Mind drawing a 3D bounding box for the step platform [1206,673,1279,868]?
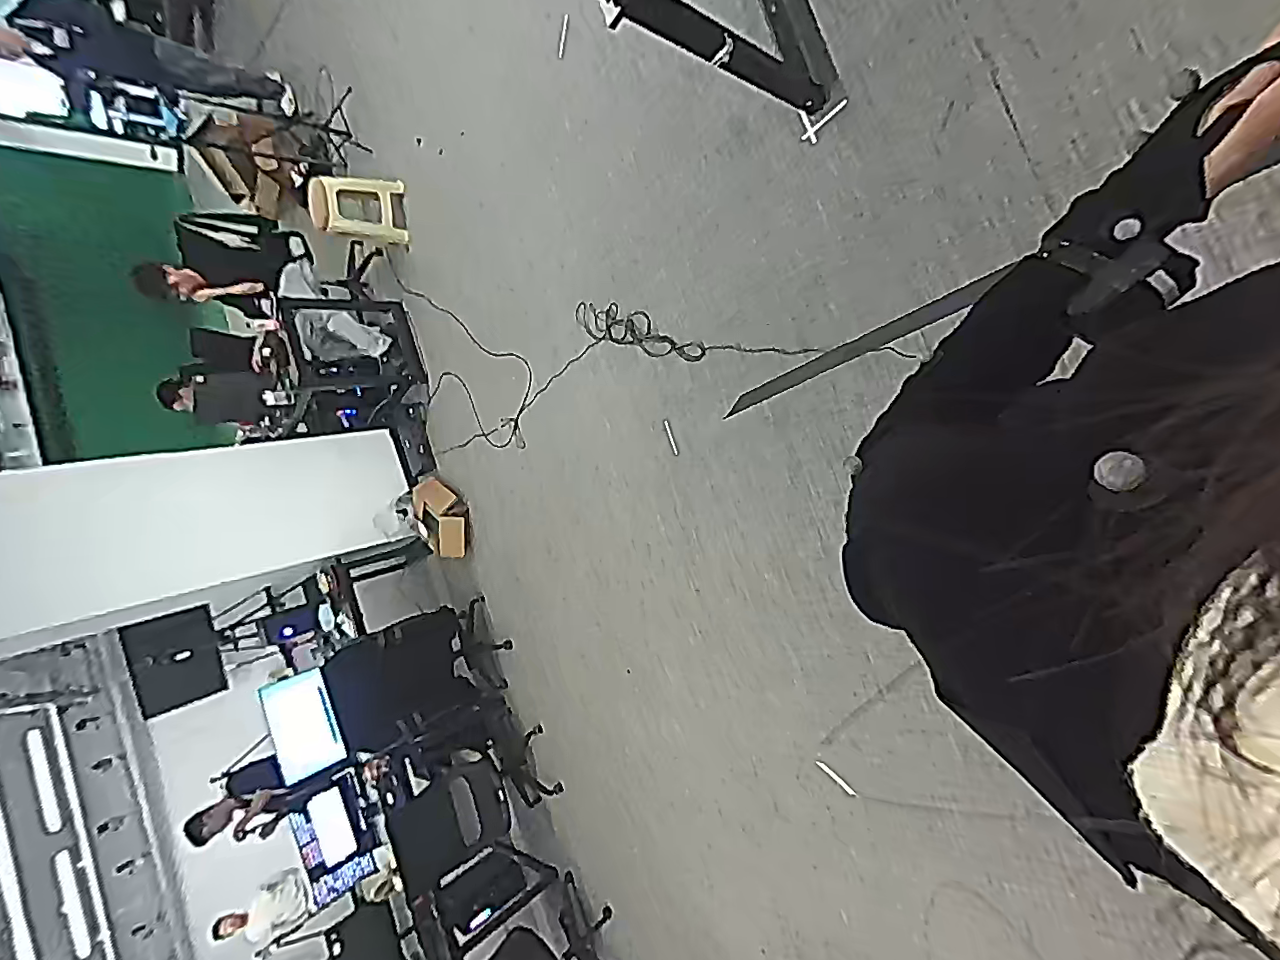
[{"bbox_3d":[1.341,0.491,0.803,0.684,0.204,0.286,-14,90,47],"label":"step platform"}]
